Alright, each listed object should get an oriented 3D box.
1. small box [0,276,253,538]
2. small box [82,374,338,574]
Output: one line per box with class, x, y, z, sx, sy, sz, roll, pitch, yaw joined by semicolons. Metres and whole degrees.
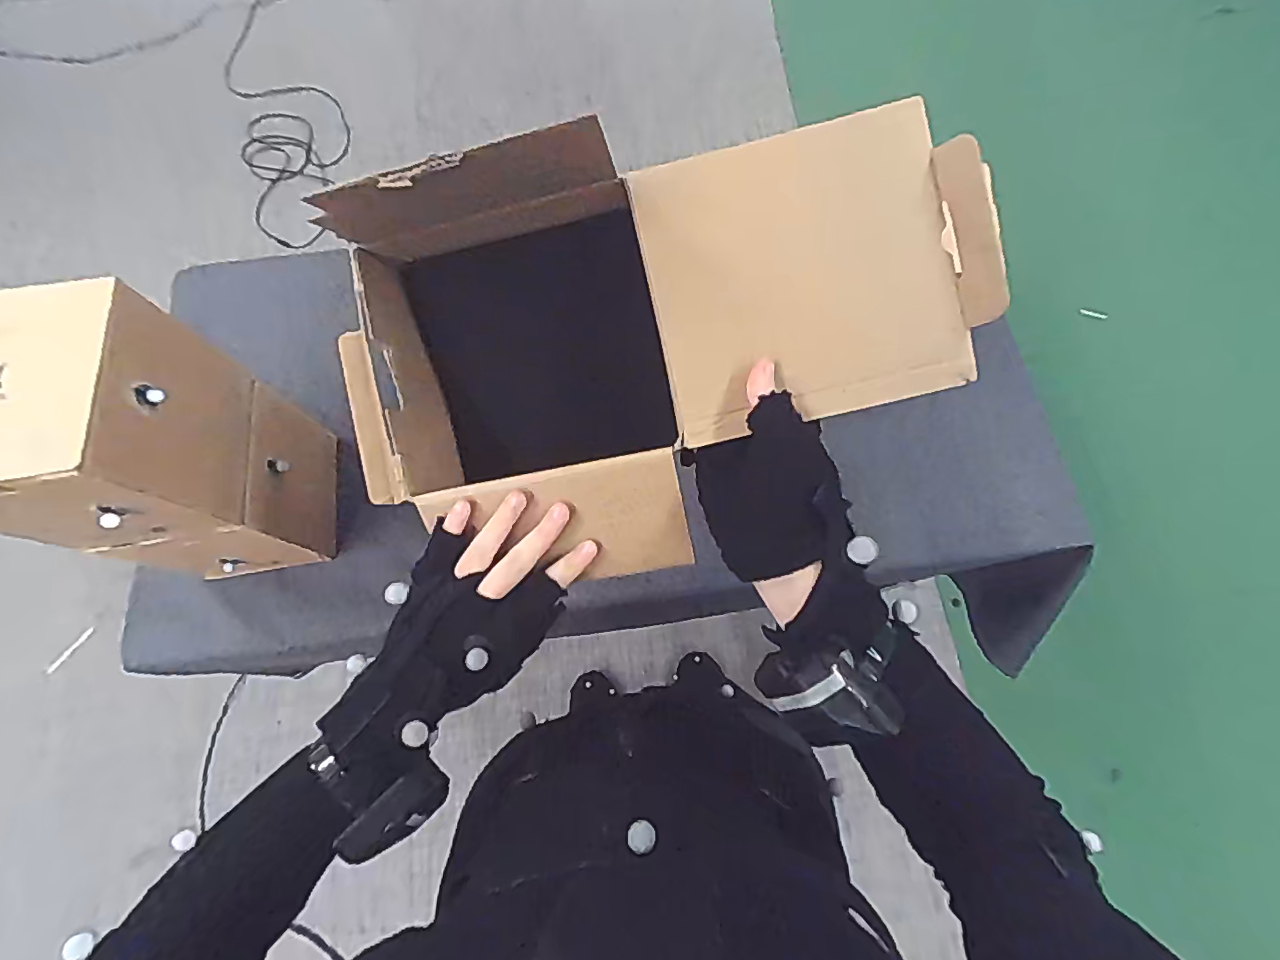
small box;-0.491;-0.051;0.489;0.168;0.176;0.179;-8;71;-2
small box;-0.485;0.001;0.643;0.168;0.176;0.179;-10;71;-1
